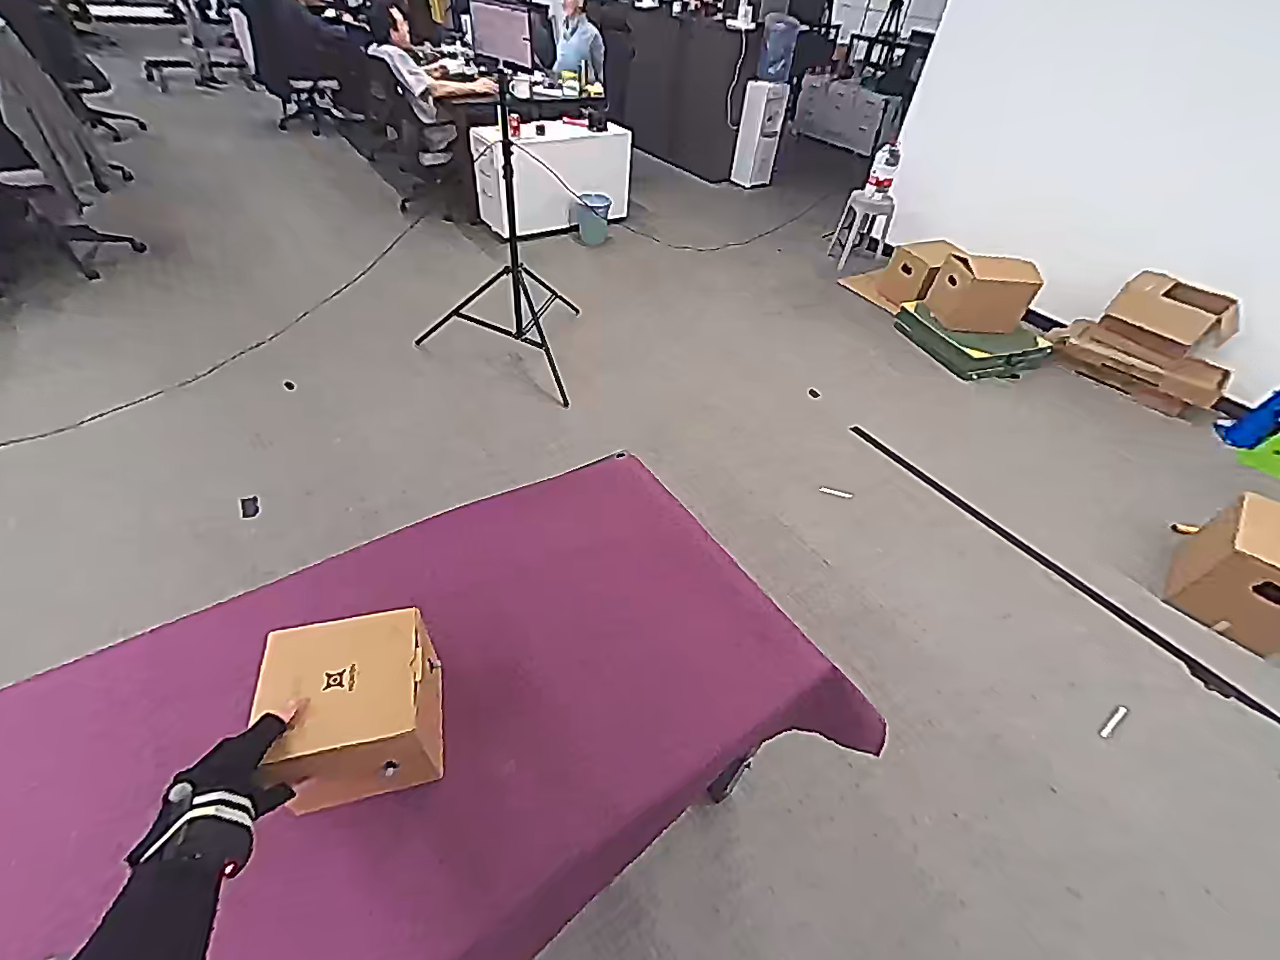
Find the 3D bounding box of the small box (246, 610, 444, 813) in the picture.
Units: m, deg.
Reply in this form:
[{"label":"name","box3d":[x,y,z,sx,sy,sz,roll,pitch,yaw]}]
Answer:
[{"label":"small box","box3d":[-0.353,0.296,0.692,0.179,0.176,0.168,-9,45,-13]}]
